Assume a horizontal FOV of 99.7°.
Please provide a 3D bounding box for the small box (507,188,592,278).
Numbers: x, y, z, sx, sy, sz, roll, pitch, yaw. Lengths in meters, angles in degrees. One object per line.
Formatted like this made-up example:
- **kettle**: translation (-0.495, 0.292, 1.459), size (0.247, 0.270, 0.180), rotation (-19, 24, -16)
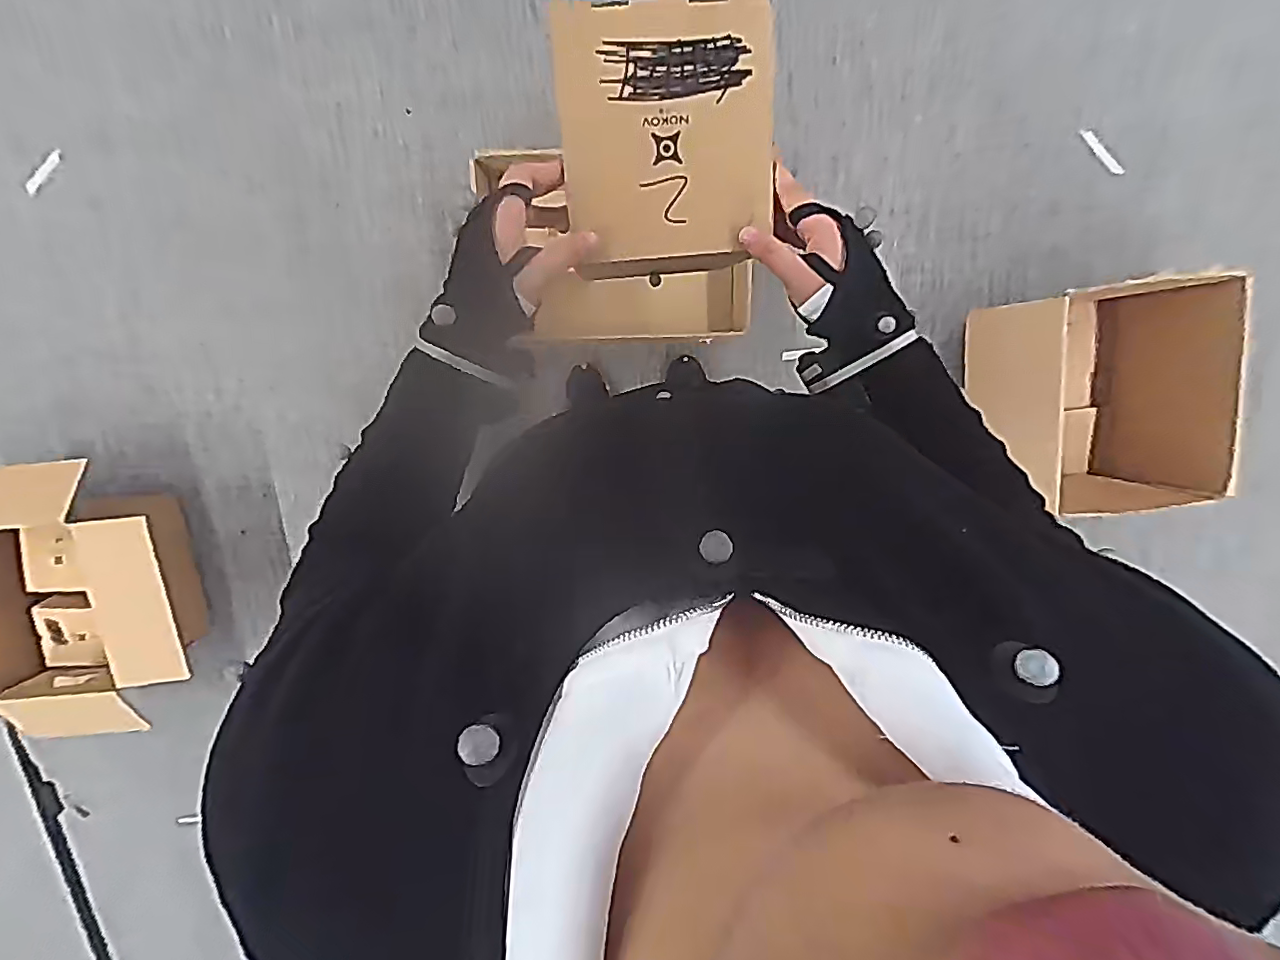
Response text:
- **small box**: translation (-0.202, -0.564, 1.254), size (0.179, 0.176, 0.168), rotation (-2, 104, -4)
